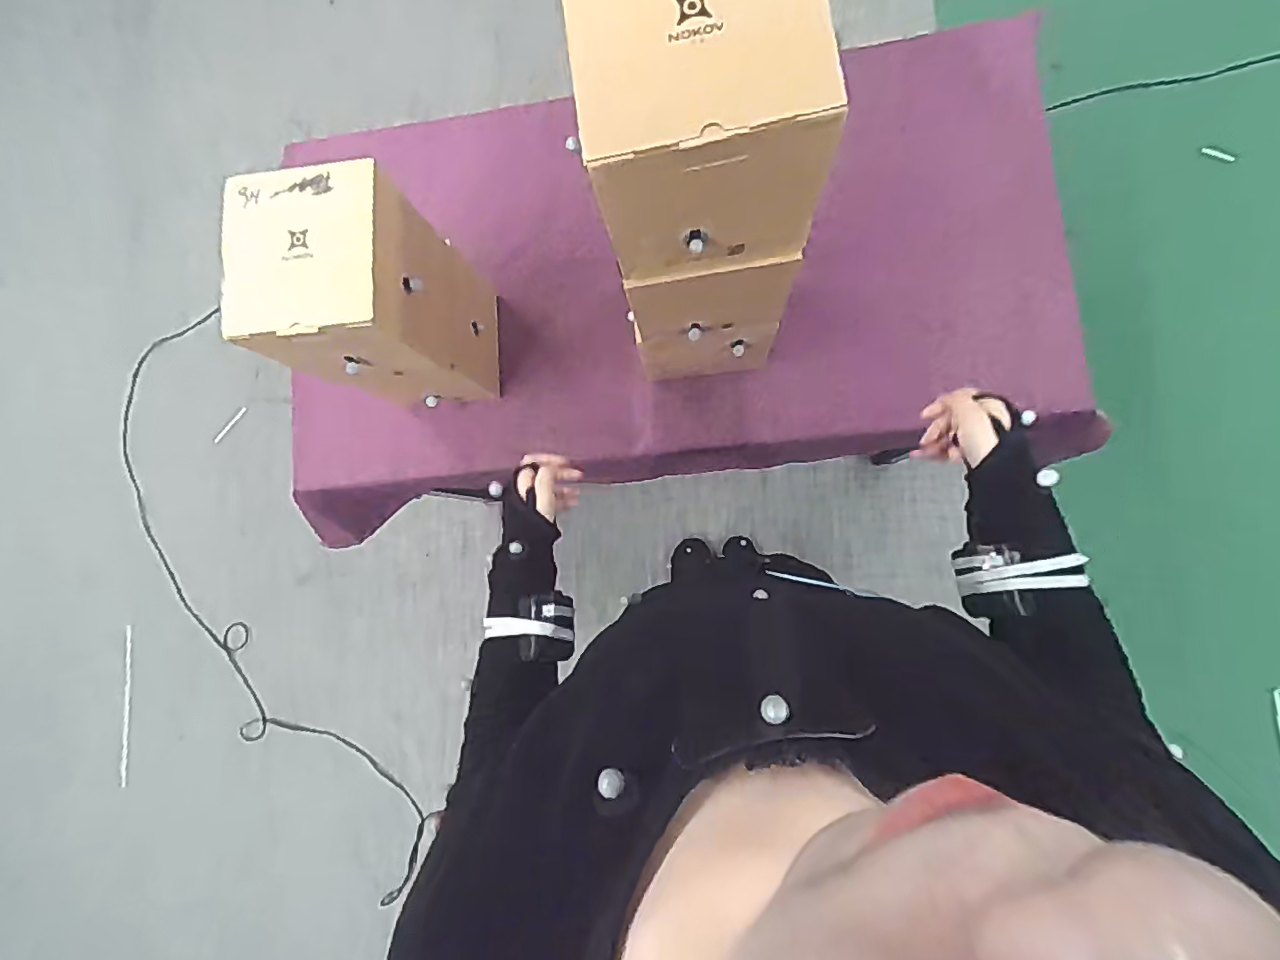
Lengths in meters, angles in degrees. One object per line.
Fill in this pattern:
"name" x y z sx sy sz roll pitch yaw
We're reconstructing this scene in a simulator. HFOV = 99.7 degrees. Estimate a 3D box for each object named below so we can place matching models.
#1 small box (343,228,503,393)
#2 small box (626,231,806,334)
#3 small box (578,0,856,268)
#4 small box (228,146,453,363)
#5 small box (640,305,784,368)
"small box" -0.306 -0.234 0.784 0.168 0.176 0.179 -3 86 6
"small box" 0.071 -0.277 0.581 0.168 0.176 0.179 -6 85 6
"small box" 0.050 -0.296 0.421 0.168 0.176 0.179 -8 85 6
"small box" -0.327 -0.239 0.621 0.168 0.176 0.179 -3 86 5
"small box" 0.090 -0.261 0.743 0.179 0.176 0.168 -5 84 6
